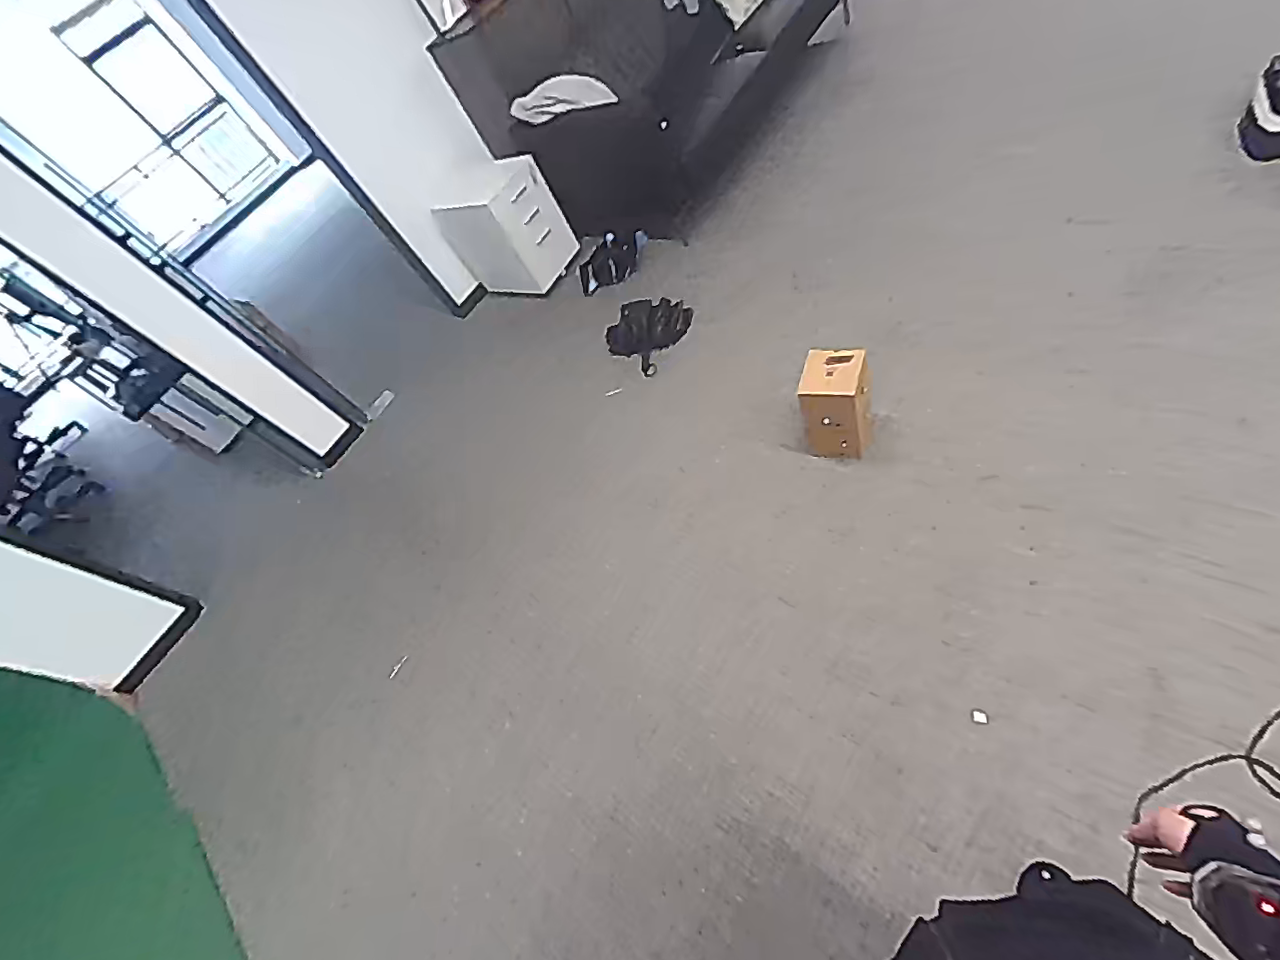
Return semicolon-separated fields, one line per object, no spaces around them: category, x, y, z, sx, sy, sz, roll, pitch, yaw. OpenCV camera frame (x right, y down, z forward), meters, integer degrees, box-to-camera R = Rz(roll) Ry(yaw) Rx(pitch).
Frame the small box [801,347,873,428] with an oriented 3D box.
small box;0.601;-0.280;1.636;0.168;0.176;0.179;7;63;32

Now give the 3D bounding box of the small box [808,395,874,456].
small box;0.663;-0.196;1.763;0.168;0.176;0.179;6;60;31
